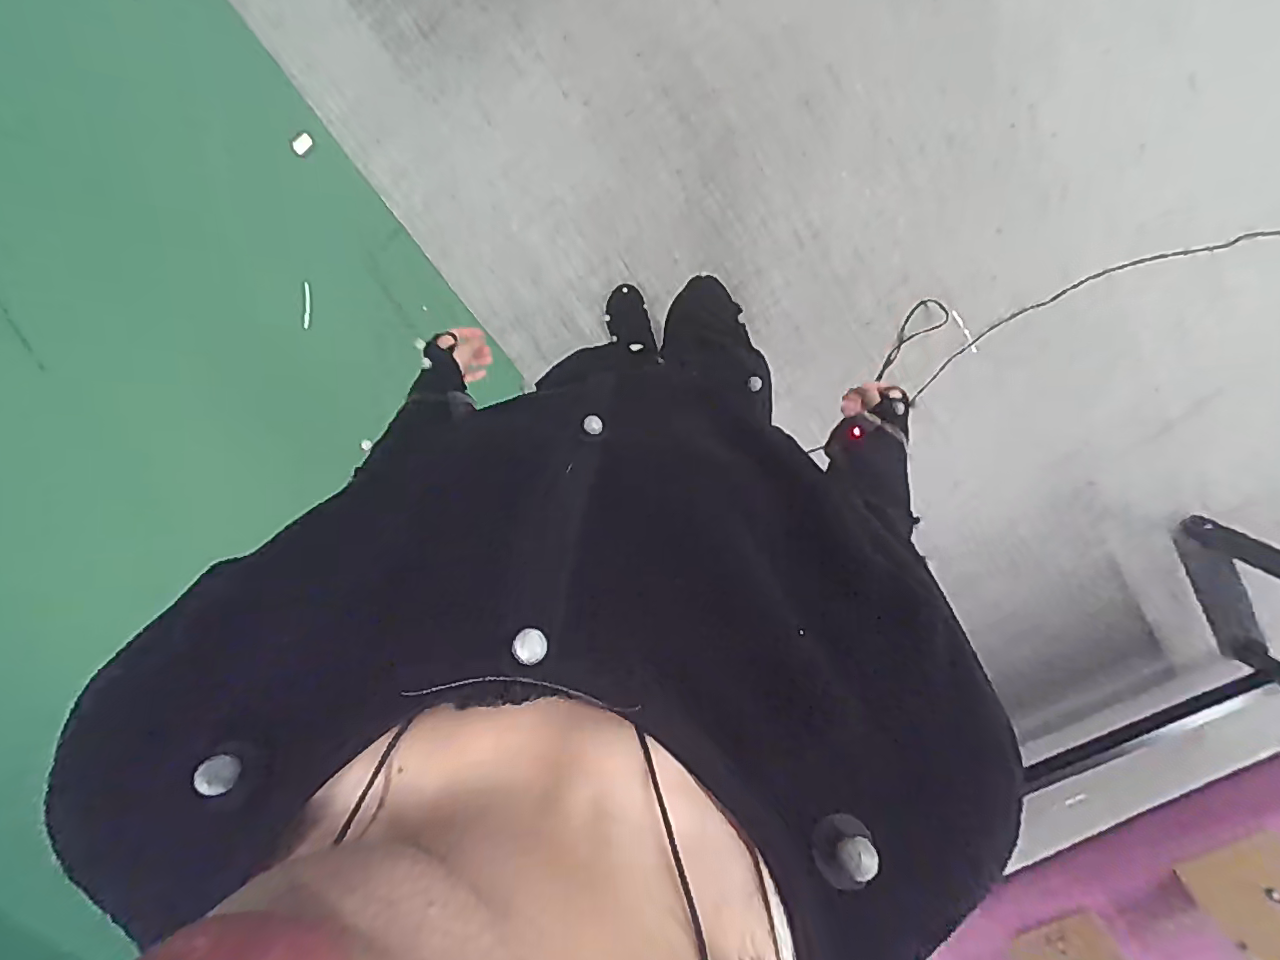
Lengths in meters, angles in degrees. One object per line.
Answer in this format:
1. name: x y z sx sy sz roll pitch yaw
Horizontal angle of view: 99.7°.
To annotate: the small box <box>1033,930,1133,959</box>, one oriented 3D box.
1. small box: 0.849 0.969 0.973 0.179 0.176 0.168 -34 106 12
